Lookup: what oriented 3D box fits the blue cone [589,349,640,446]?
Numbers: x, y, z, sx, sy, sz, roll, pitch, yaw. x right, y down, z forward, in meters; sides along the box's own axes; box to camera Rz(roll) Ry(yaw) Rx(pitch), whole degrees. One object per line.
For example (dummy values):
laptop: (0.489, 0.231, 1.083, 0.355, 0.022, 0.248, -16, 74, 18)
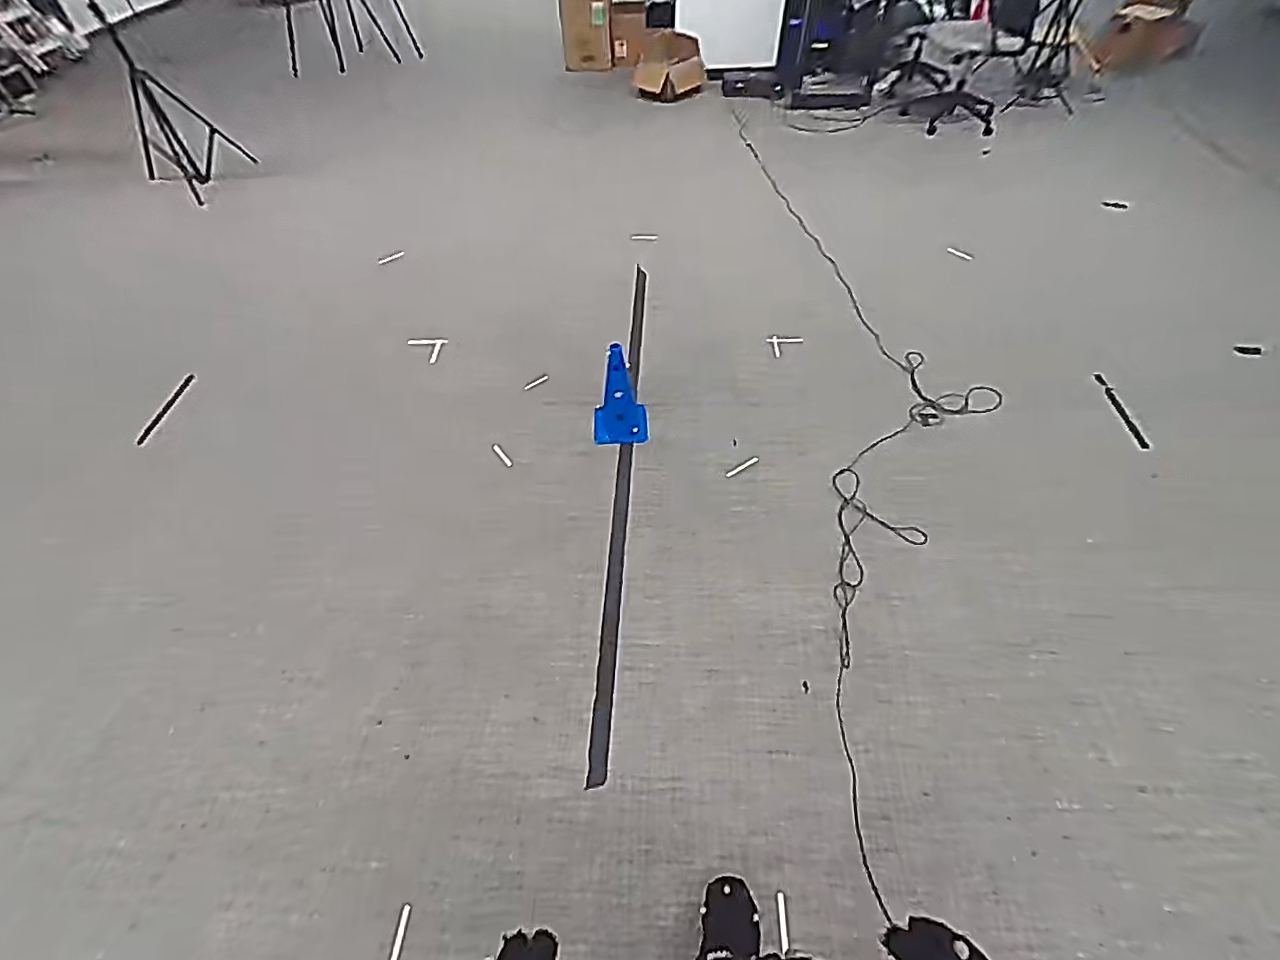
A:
blue cone: (-0.101, -0.304, 1.915, 0.192, 0.380, 0.193, -2, 50, 1)
